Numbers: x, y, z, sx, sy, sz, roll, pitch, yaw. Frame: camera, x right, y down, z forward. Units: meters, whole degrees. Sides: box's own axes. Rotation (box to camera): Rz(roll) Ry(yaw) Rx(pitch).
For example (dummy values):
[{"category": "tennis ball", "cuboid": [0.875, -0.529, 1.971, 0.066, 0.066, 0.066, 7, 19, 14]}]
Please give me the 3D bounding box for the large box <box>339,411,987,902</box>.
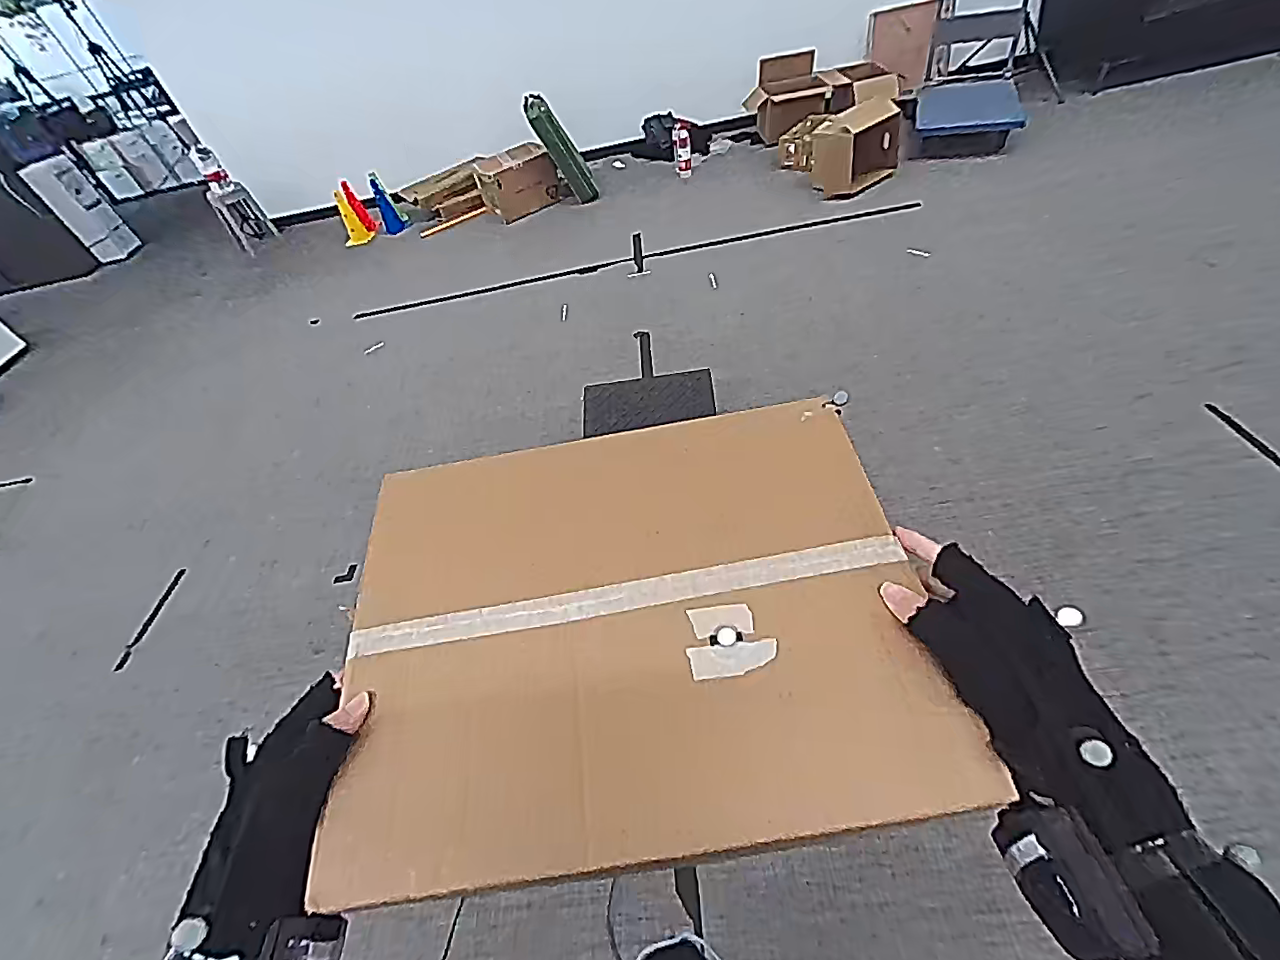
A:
[{"category": "large box", "cuboid": [0.009, 0.180, 0.527, 0.408, 0.320, 0.320, -10, 54, 1]}]
